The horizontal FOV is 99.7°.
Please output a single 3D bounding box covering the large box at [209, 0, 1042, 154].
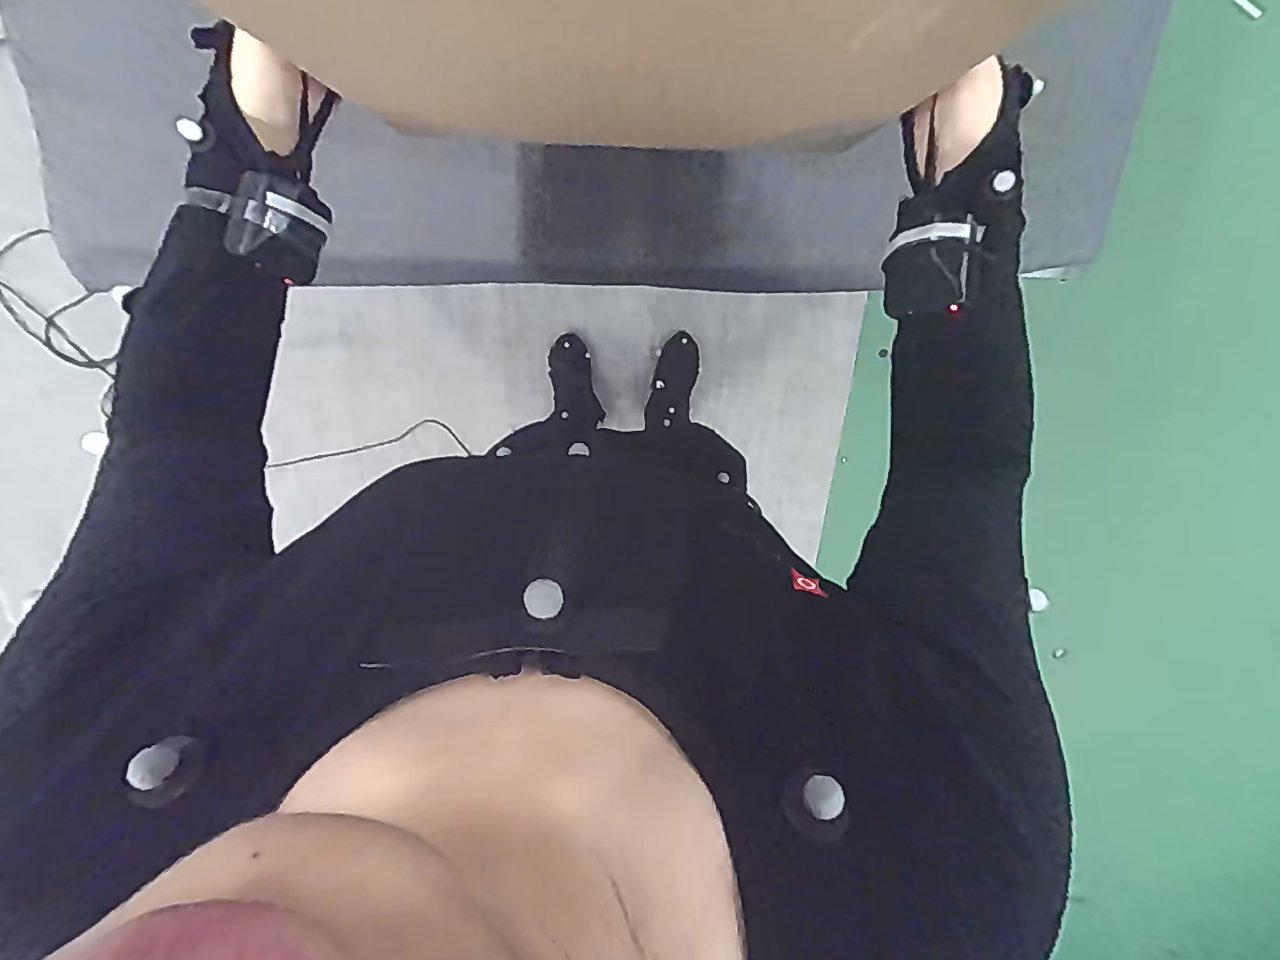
[{"bbox_3d":[-0.010,-0.403,0.317,0.408,0.320,0.320,0,110,-2],"label":"large box"}]
